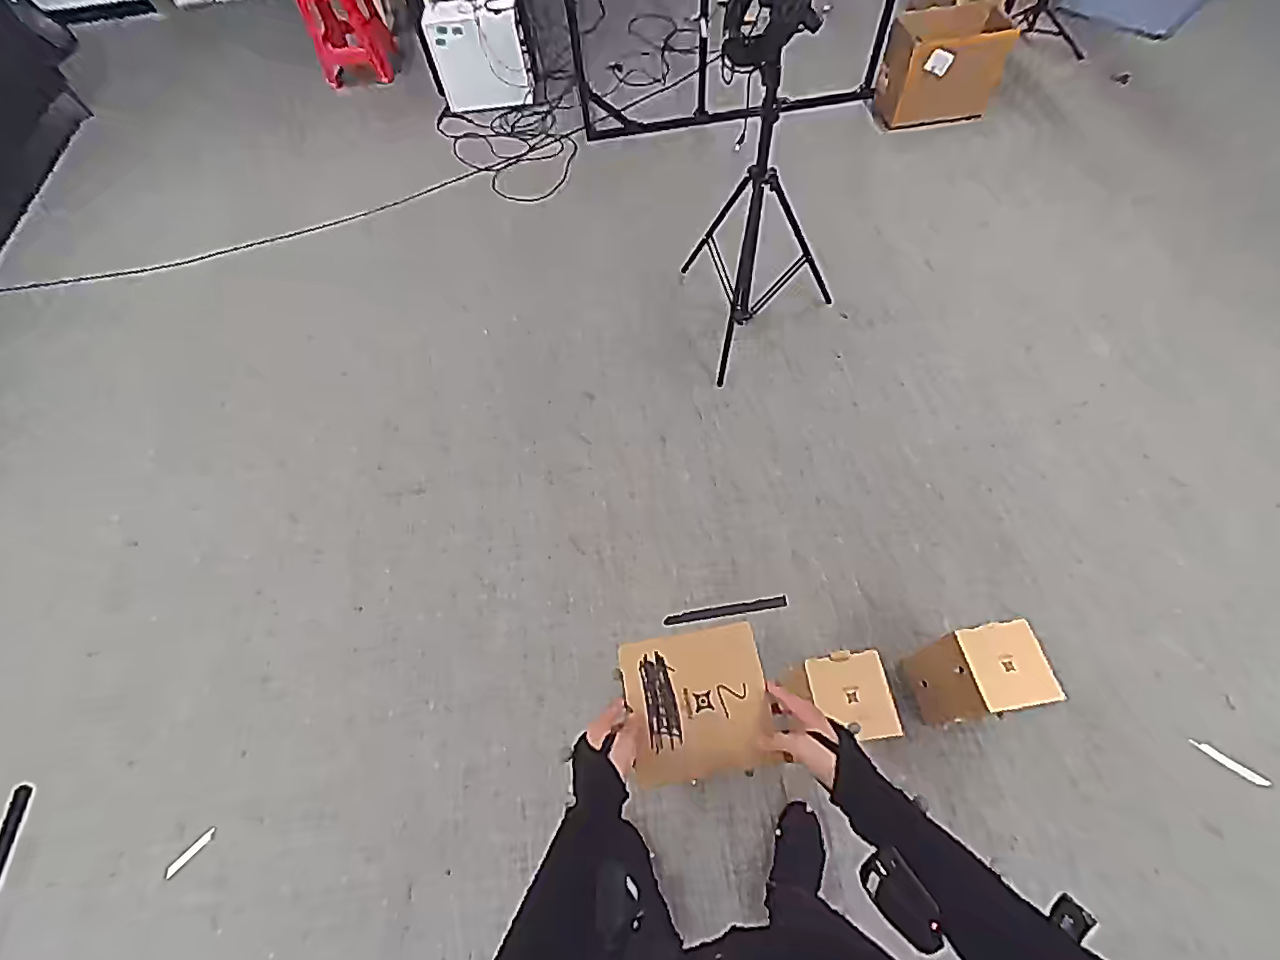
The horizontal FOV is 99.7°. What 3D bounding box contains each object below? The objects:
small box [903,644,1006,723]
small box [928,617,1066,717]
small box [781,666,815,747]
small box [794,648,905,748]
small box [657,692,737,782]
[{"bbox_3d":[0.799,0.506,1.364,0.168,0.176,0.179,-11,61,-2],"label":"small box"},{"bbox_3d":[0.792,0.428,1.221,0.168,0.176,0.179,-10,61,-1],"label":"small box"},{"bbox_3d":[0.464,0.563,1.357,0.168,0.176,0.179,-8,62,0],"label":"small box"},{"bbox_3d":[0.455,0.491,1.210,0.168,0.176,0.179,-8,61,1],"label":"small box"},{"bbox_3d":[0.135,0.641,1.343,0.168,0.176,0.179,-9,61,0],"label":"small box"}]
